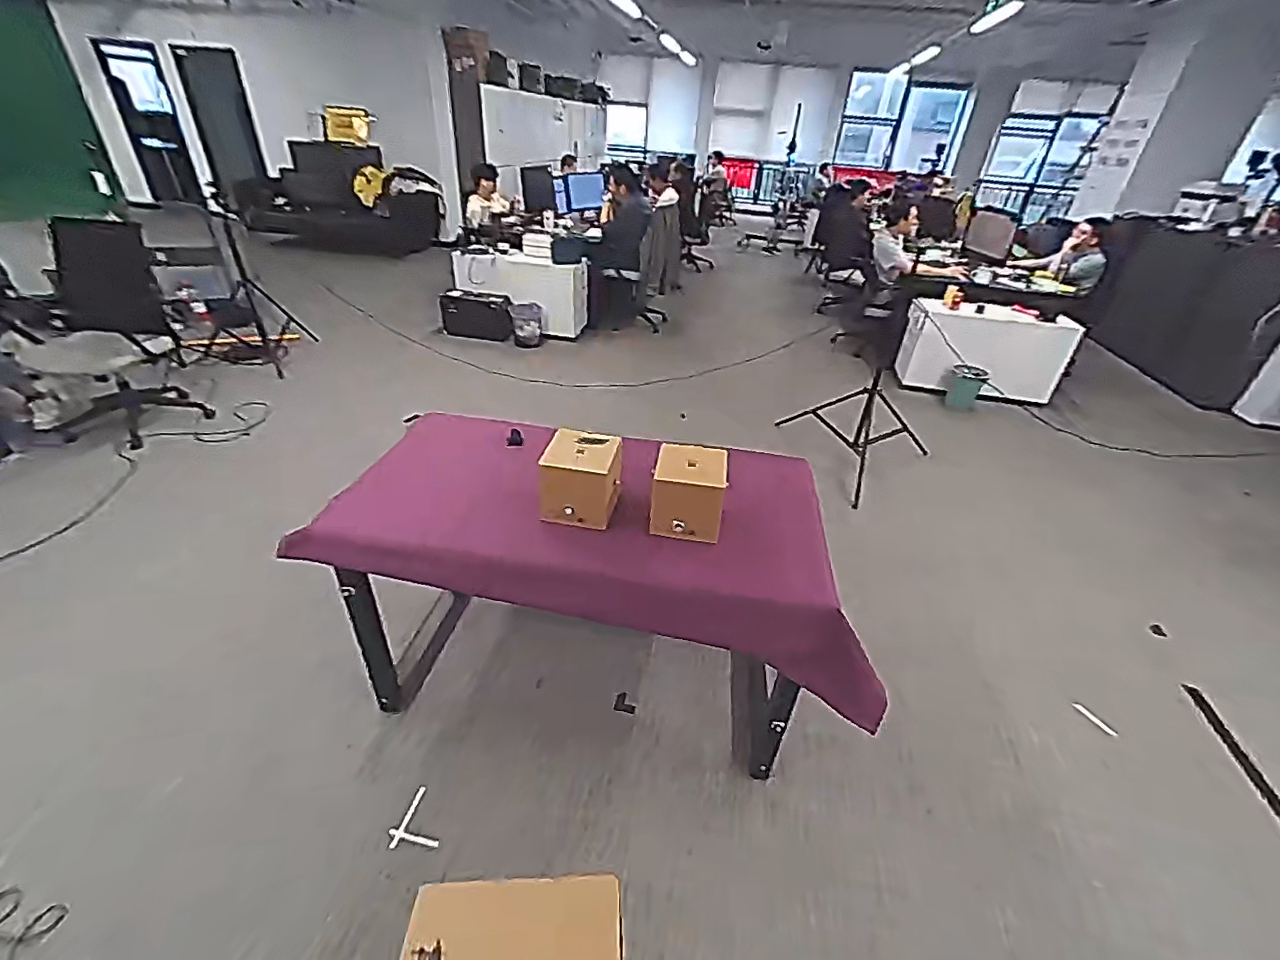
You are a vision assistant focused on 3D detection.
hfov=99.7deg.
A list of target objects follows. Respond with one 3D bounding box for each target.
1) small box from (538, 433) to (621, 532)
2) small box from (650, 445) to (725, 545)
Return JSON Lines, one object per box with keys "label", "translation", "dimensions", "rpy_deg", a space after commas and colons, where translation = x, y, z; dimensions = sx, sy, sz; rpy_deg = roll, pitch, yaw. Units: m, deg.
{"label": "small box", "translation": [-0.147, 0.004, 1.344], "dimensions": [0.168, 0.176, 0.179], "rpy_deg": [8, 33, 6]}
{"label": "small box", "translation": [0.117, 0.035, 1.330], "dimensions": [0.168, 0.176, 0.179], "rpy_deg": [6, 33, 5]}
